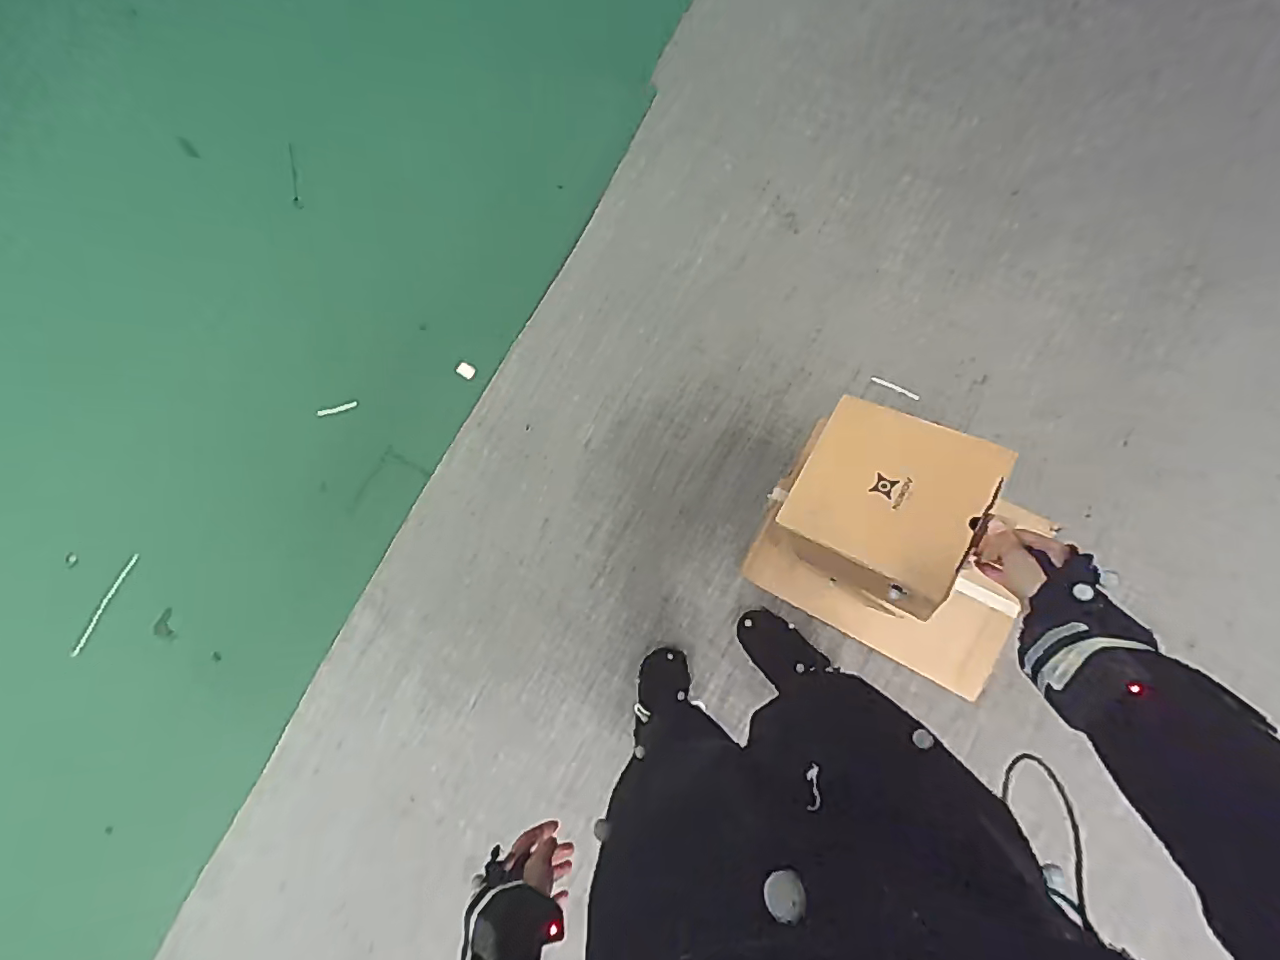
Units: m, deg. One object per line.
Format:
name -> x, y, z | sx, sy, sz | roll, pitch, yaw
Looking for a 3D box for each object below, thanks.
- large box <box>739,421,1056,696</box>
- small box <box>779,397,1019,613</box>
large box -> 0.437, 0.138, 1.027 | 0.408, 0.320, 0.320 | 28, 87, 11
small box -> 0.283, 0.037, 0.616 | 0.179, 0.176, 0.168 | 27, 82, 28
